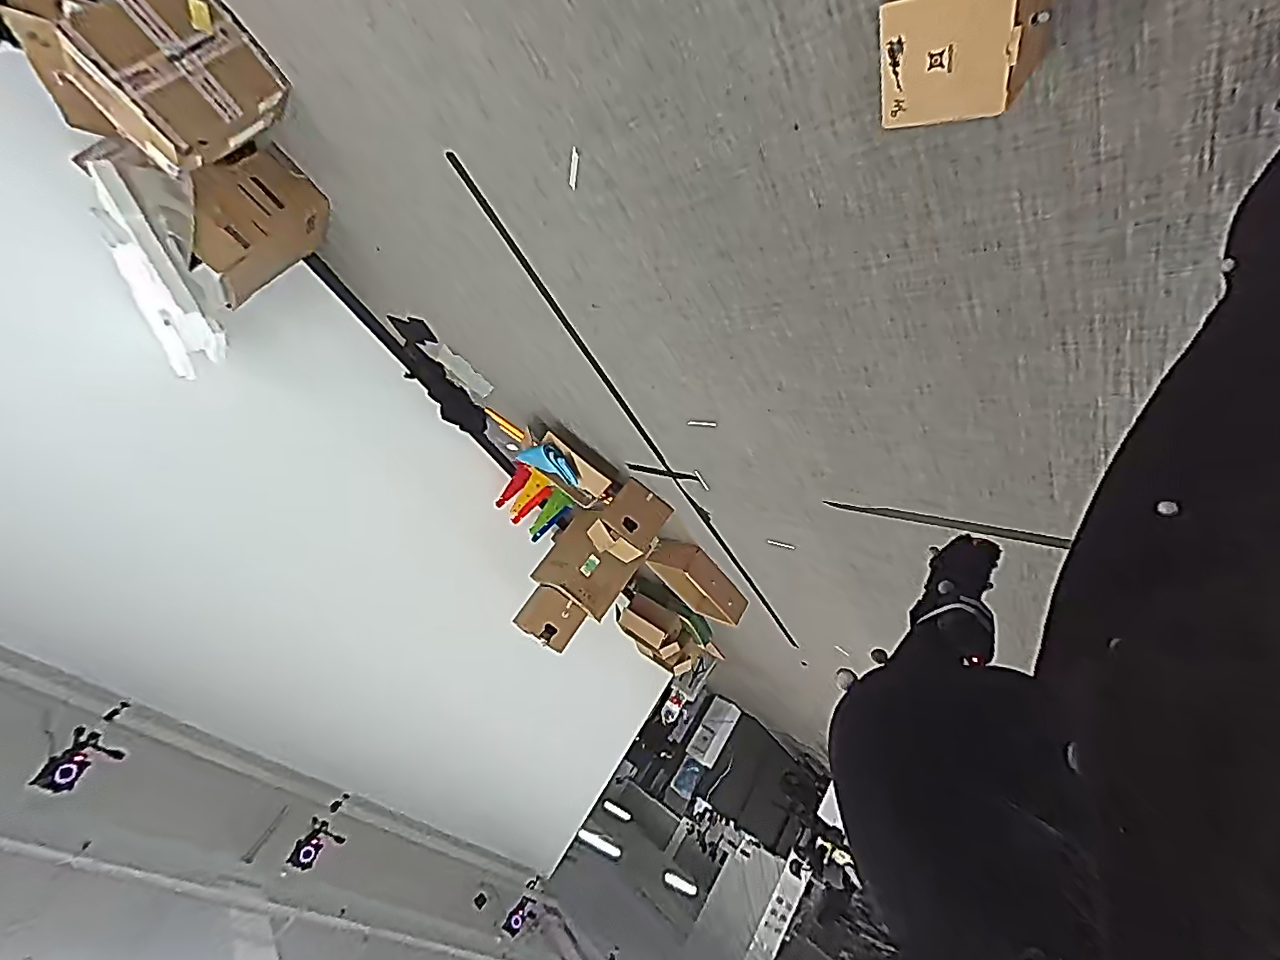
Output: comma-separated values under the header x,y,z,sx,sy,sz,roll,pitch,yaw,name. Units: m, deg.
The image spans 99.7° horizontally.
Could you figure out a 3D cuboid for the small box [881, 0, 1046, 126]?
x,y,z,sx,sy,sz,roll,pitch,yaw,name
0.472,-0.653,0.785,0.179,0.176,0.168,20,152,37,small box
